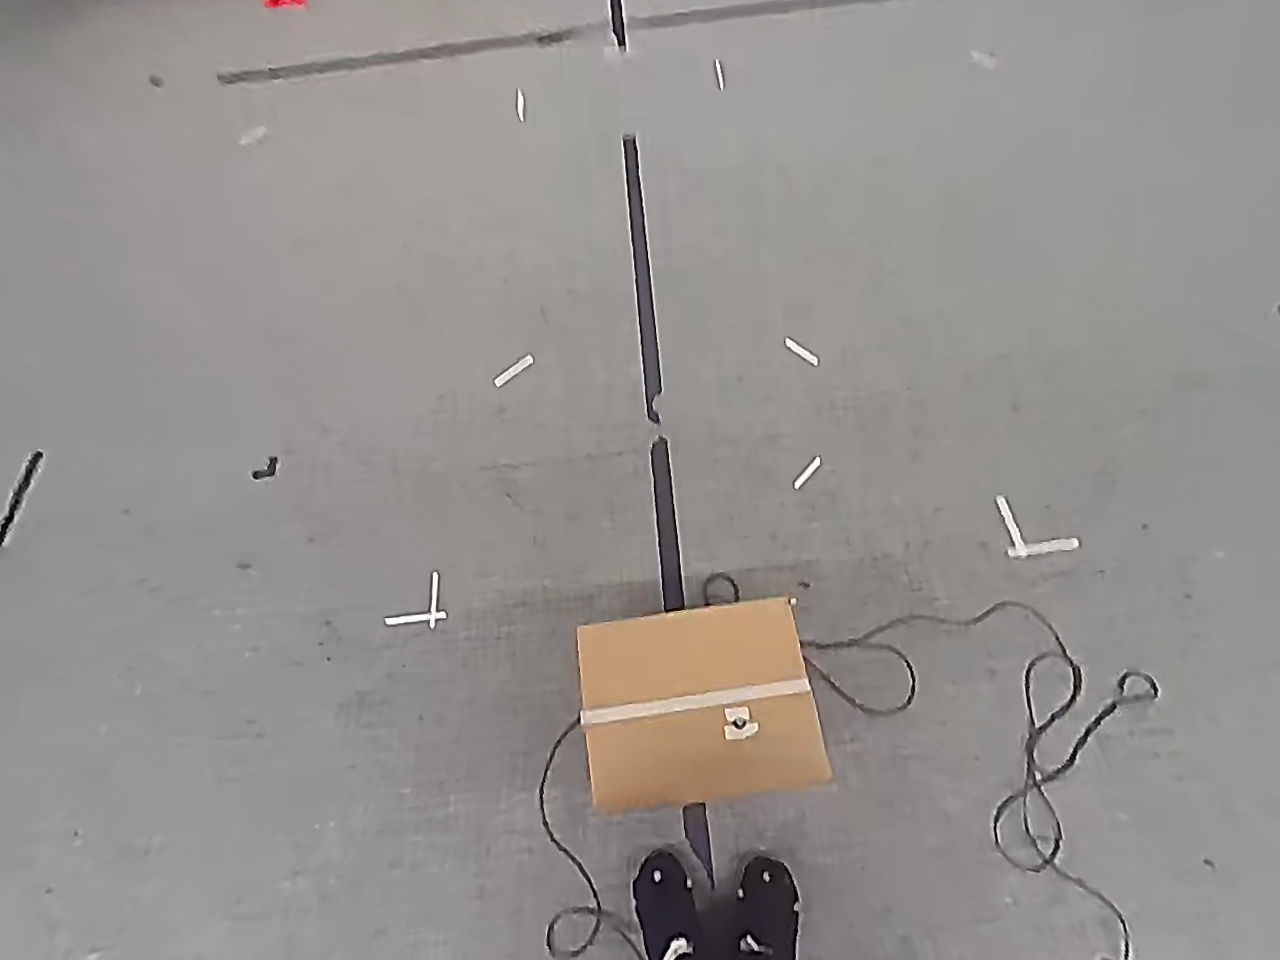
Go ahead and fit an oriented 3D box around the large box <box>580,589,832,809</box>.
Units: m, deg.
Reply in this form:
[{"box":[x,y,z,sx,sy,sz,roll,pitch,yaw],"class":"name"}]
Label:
[{"box":[0.110,0.430,1.090,0.408,0.320,0.320,-8,69,-1],"class":"large box"}]
